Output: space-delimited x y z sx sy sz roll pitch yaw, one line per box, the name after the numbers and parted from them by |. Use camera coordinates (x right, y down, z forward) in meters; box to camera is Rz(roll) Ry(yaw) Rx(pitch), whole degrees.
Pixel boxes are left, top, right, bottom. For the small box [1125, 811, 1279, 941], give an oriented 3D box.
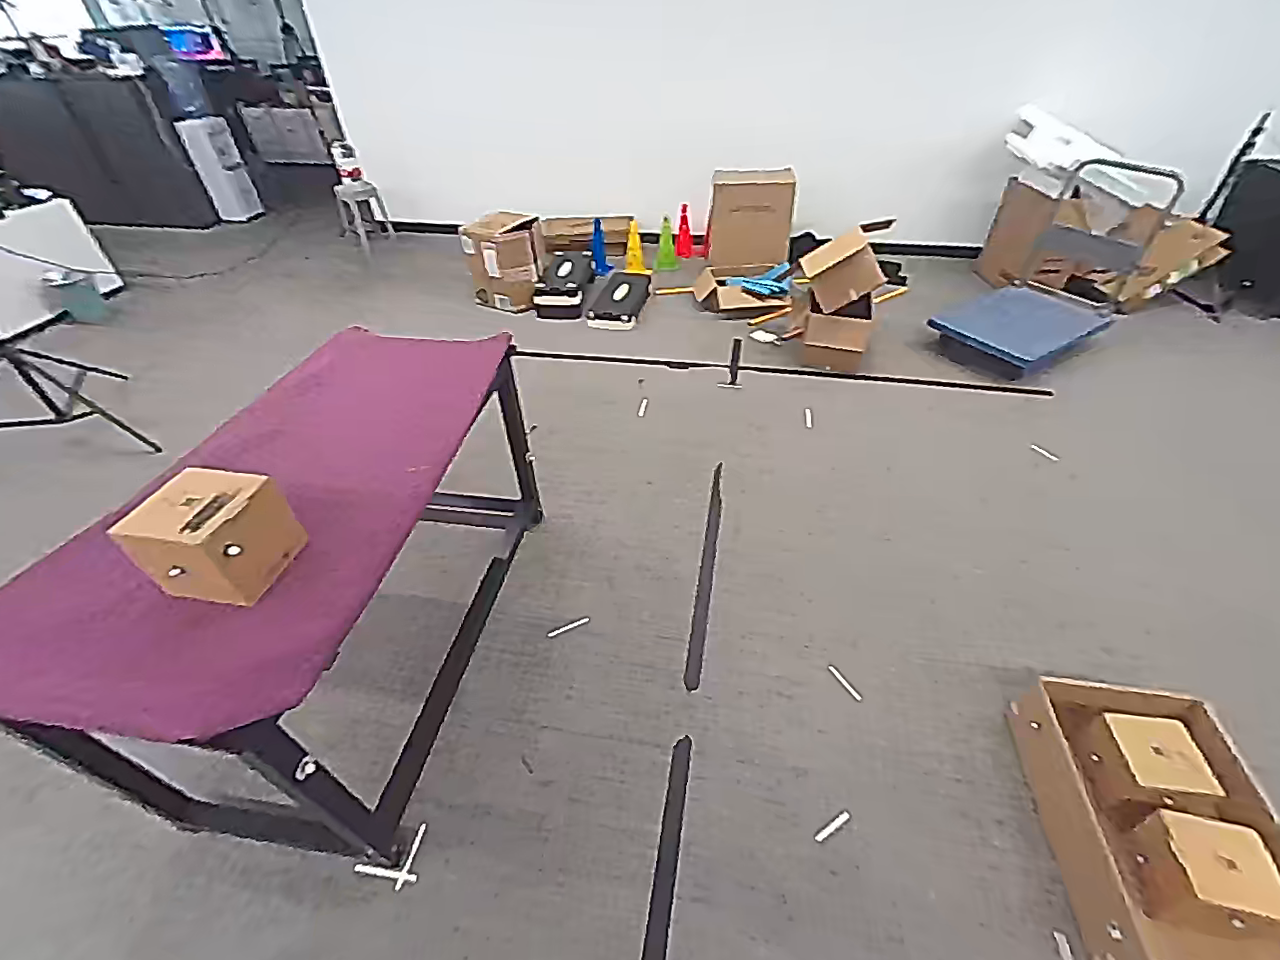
1.189 0.833 1.134 0.179 0.176 0.168 9 42 12 | small box

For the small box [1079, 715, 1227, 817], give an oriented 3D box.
1.204 0.687 1.295 0.179 0.176 0.168 4 44 6 | small box
